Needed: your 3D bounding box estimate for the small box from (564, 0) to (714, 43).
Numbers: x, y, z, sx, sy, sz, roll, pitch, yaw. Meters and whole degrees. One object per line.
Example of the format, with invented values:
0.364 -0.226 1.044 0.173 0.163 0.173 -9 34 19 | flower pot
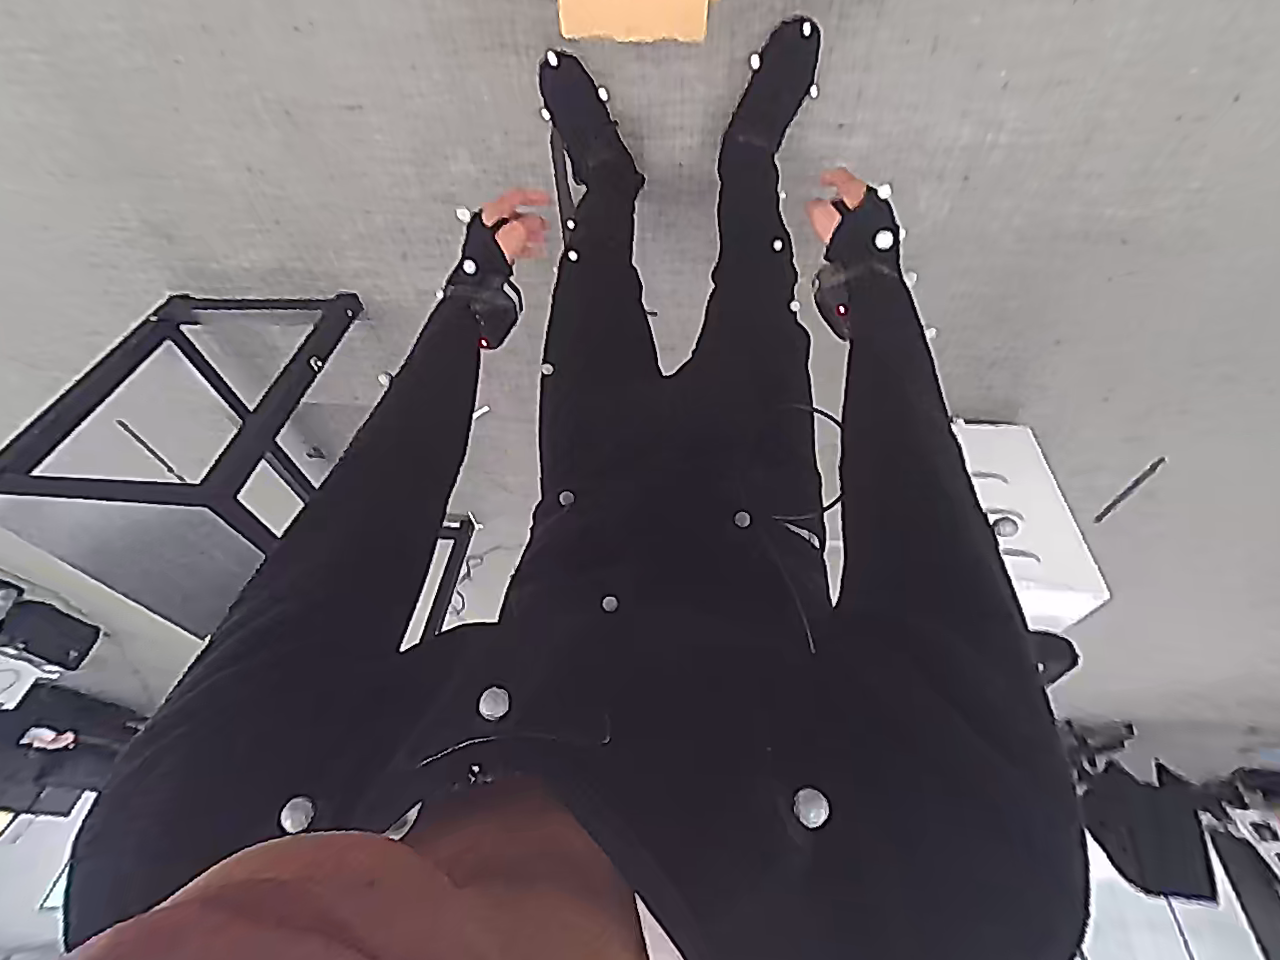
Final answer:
0.004 -0.612 0.591 0.168 0.176 0.179 4 142 3 | small box
